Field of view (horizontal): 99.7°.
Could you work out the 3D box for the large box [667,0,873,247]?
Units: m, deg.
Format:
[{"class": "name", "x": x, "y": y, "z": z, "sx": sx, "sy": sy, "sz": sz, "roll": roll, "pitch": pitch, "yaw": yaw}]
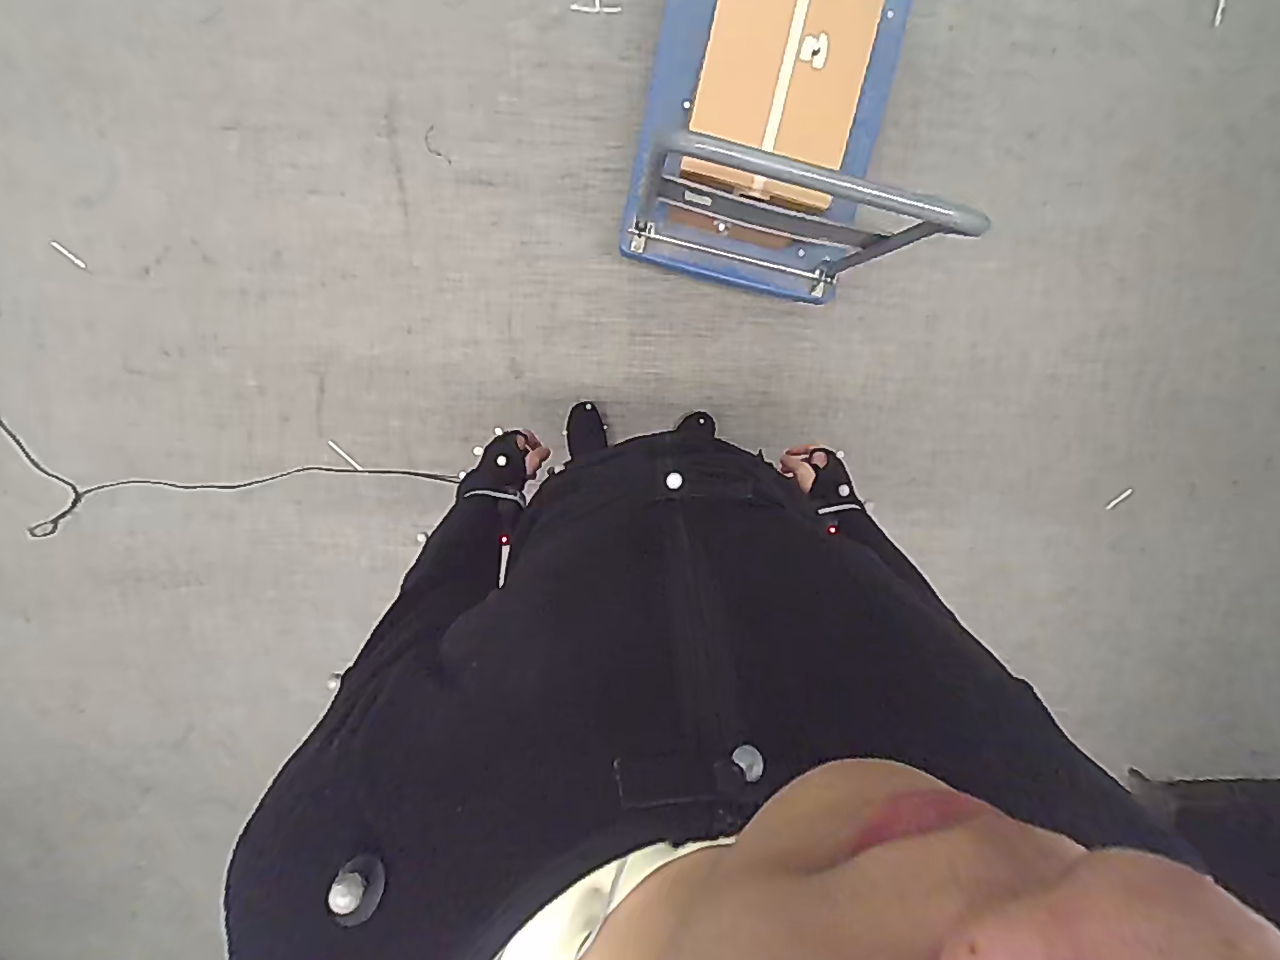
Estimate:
[{"class": "large box", "x": 0.257, "y": -0.790, "z": 1.200, "sx": 0.320, "sy": 0.320, "sz": 0.408, "roll": 12, "pitch": 97, "yaw": -5}]
